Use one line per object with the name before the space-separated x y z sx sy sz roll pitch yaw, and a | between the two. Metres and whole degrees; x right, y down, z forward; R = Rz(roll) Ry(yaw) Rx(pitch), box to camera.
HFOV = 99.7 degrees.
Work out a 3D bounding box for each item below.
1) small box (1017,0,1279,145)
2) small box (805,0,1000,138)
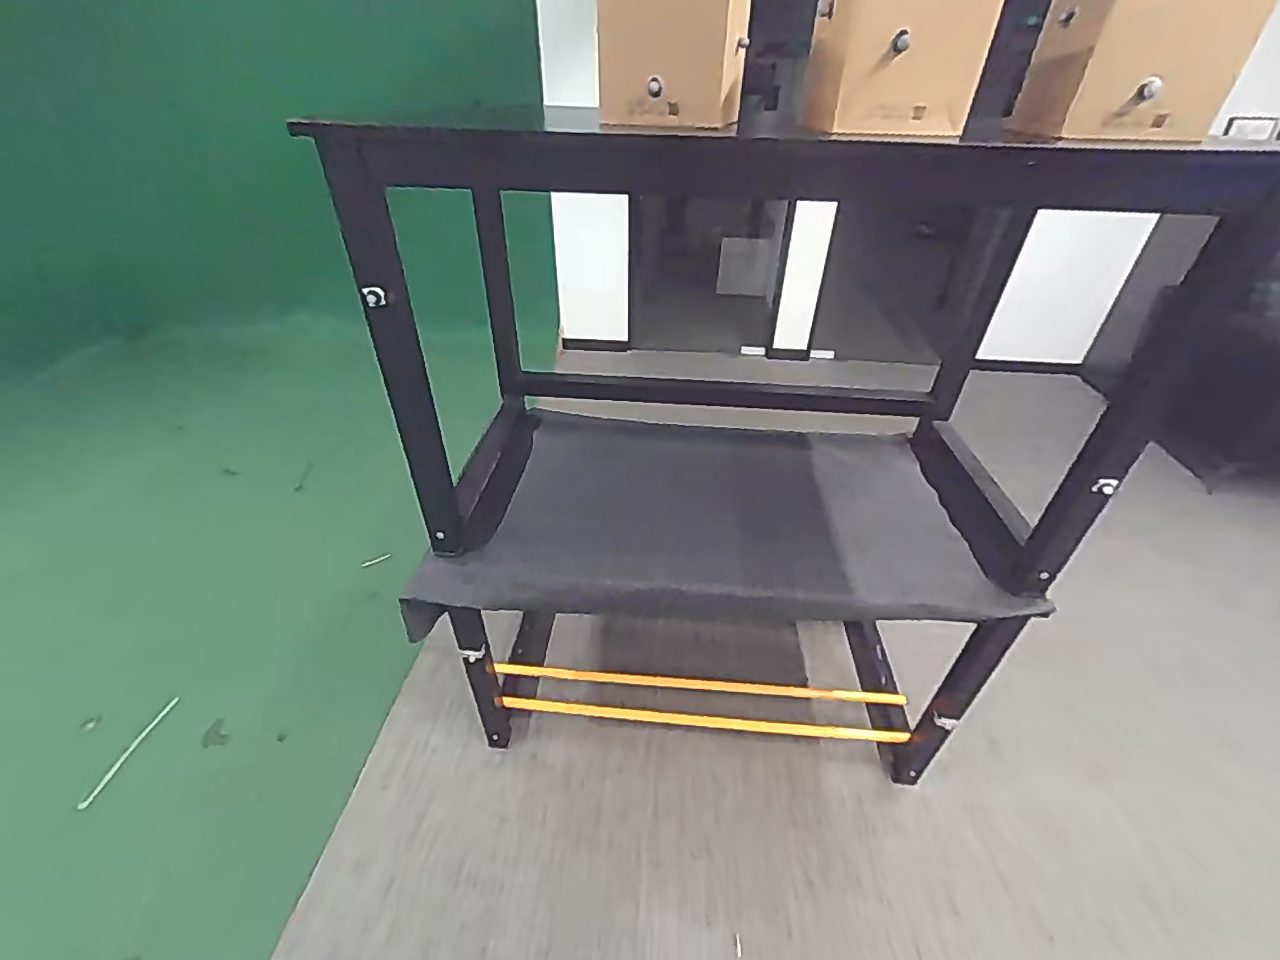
small box | 0.618 -0.530 0.678 0.168 0.176 0.179 6 37 8
small box | 0.324 -0.542 0.691 0.168 0.176 0.179 1 36 -1
